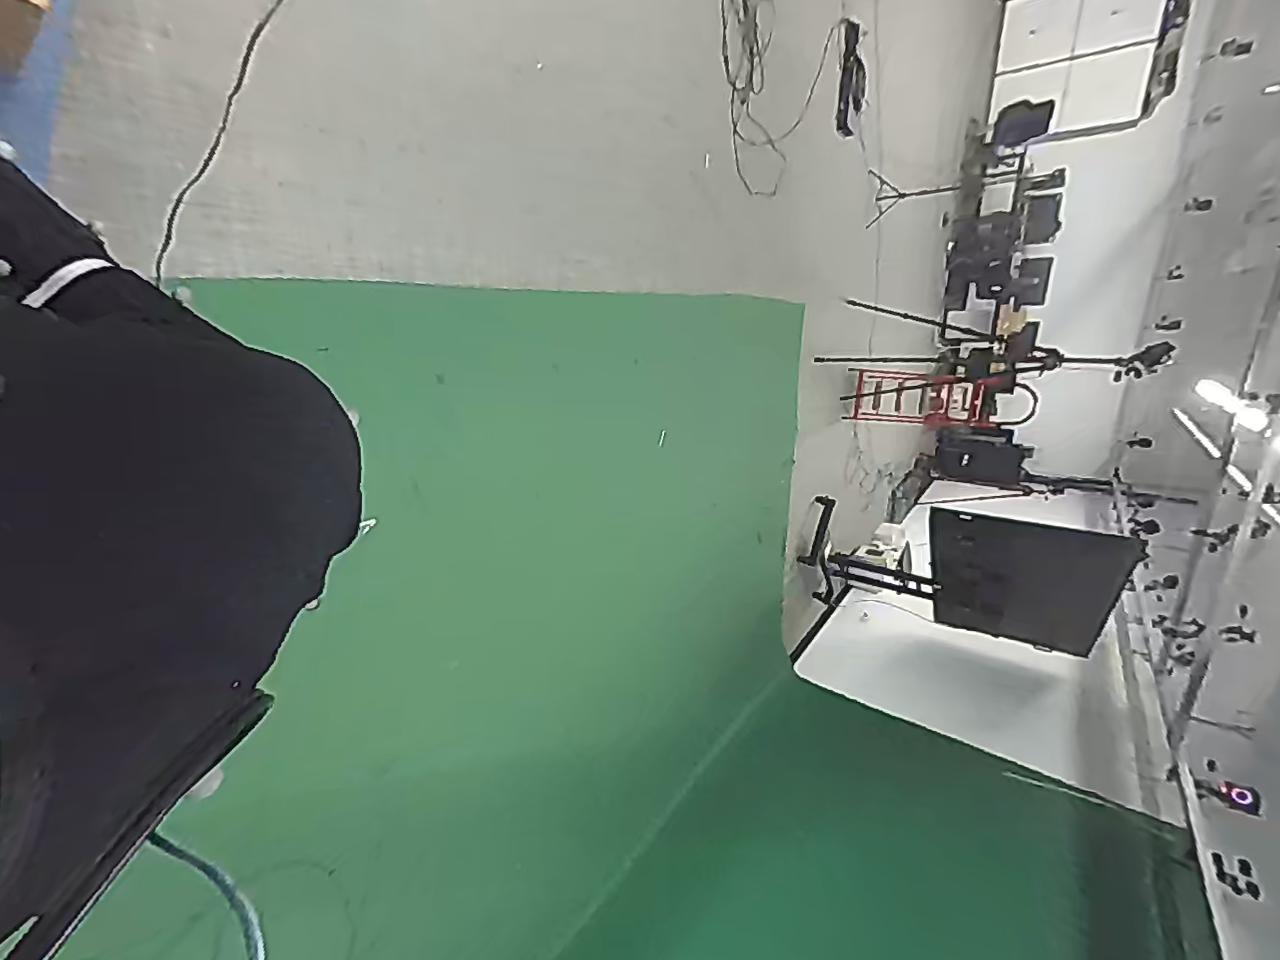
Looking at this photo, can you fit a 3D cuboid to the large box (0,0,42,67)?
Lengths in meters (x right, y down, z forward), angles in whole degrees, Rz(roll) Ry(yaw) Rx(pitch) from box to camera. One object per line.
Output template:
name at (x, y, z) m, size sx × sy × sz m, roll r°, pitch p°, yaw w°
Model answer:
large box at (-0.920, -0.745, 0.560) m, size 0.408 × 0.320 × 0.320 m, roll 5°, pitch 95°, yaw -53°
